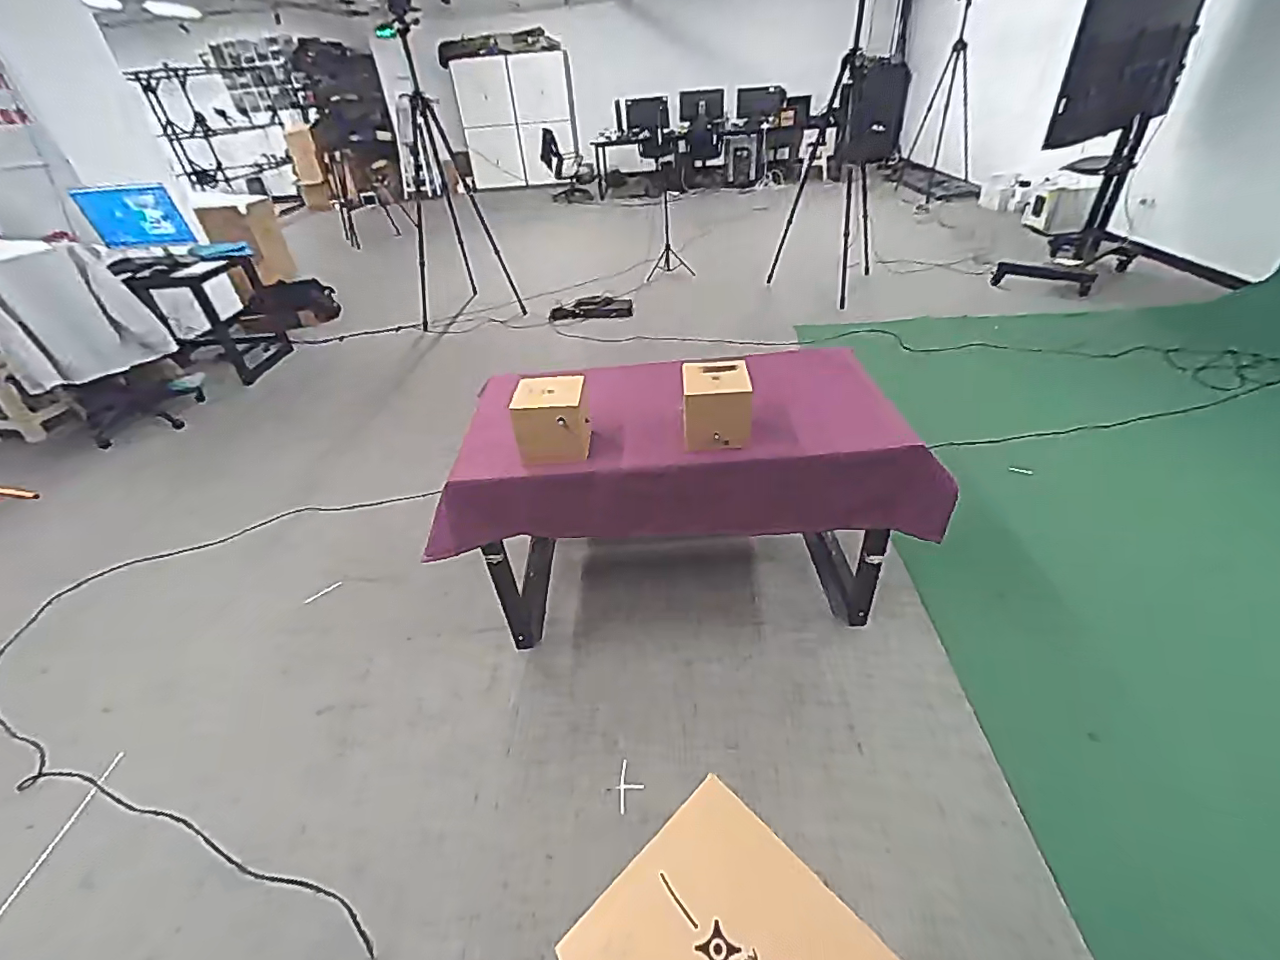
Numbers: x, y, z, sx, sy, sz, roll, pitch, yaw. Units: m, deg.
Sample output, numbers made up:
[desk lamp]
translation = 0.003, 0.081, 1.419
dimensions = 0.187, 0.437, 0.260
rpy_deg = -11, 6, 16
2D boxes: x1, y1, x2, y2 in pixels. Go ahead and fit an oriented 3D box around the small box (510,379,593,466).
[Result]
[small box]
translation = -0.224, -0.150, 1.425
dimensions = 0.179, 0.176, 0.168
rpy_deg = -3, 36, 4
